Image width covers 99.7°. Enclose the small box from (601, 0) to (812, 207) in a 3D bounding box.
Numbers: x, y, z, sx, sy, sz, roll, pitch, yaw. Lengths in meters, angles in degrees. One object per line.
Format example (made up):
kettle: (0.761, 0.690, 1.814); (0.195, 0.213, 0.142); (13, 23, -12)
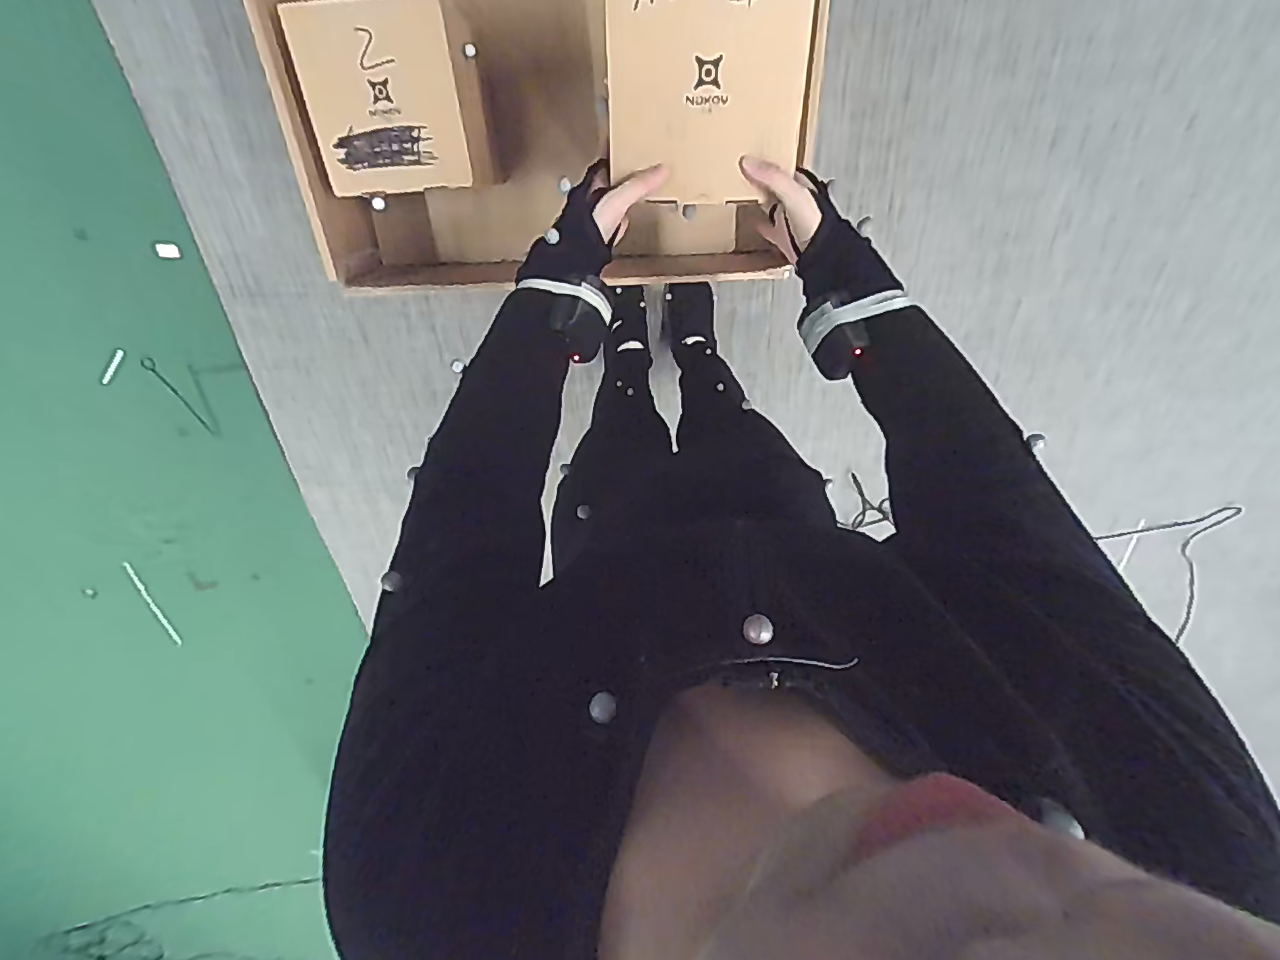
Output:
small box: (0.050, -0.363, 0.513); (0.168, 0.176, 0.179); (0, 119, -1)
